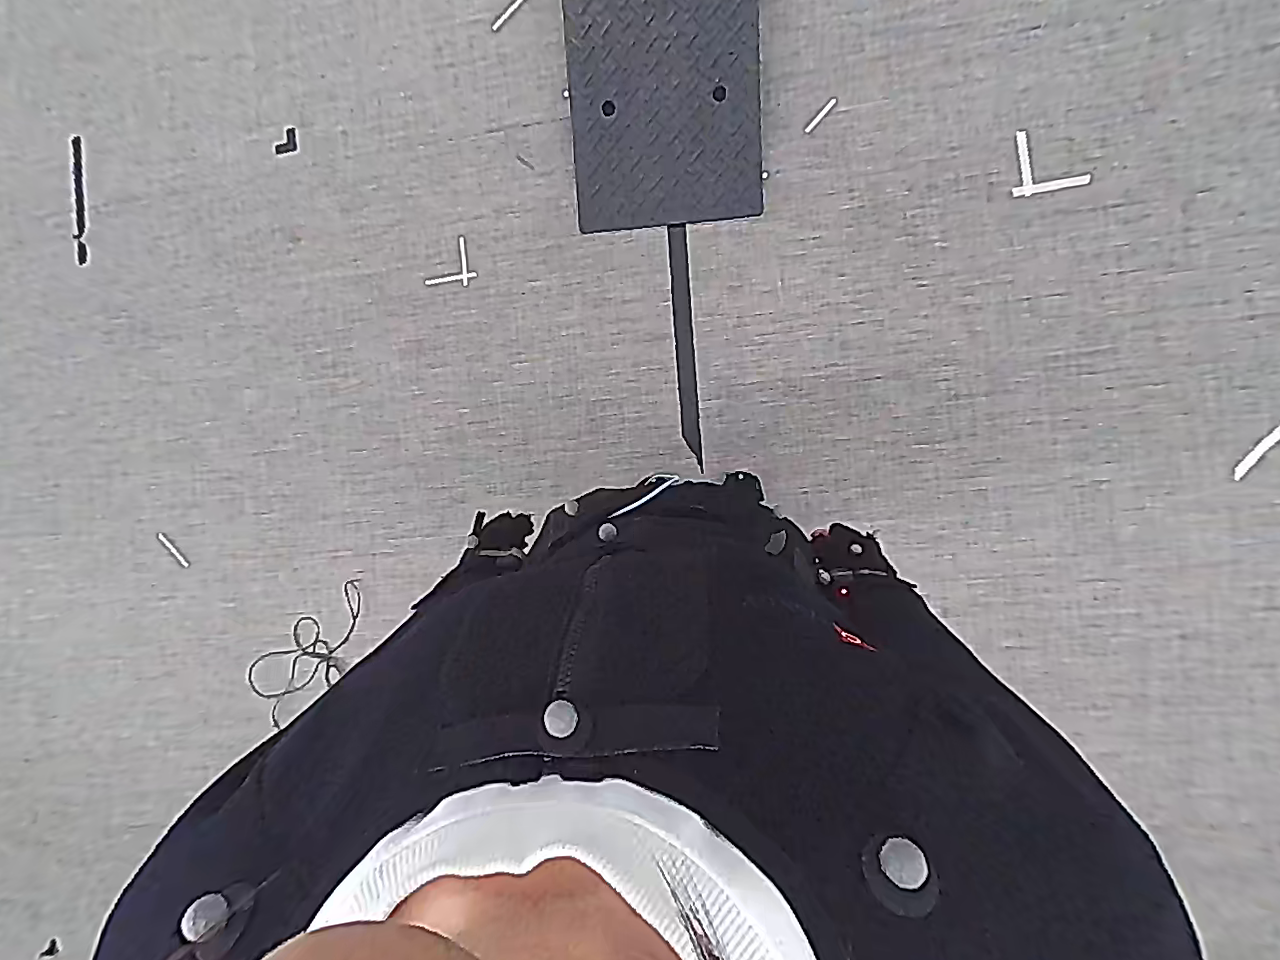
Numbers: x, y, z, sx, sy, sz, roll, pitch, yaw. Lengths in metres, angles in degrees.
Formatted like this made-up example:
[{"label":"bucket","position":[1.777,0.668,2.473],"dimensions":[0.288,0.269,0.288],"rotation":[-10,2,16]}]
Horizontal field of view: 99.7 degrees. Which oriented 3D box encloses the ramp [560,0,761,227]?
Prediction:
[{"label":"ramp","position":[0.043,-1.186,1.344],"dimensions":[0.509,0.206,0.991],"rotation":[-4,91,7]}]
